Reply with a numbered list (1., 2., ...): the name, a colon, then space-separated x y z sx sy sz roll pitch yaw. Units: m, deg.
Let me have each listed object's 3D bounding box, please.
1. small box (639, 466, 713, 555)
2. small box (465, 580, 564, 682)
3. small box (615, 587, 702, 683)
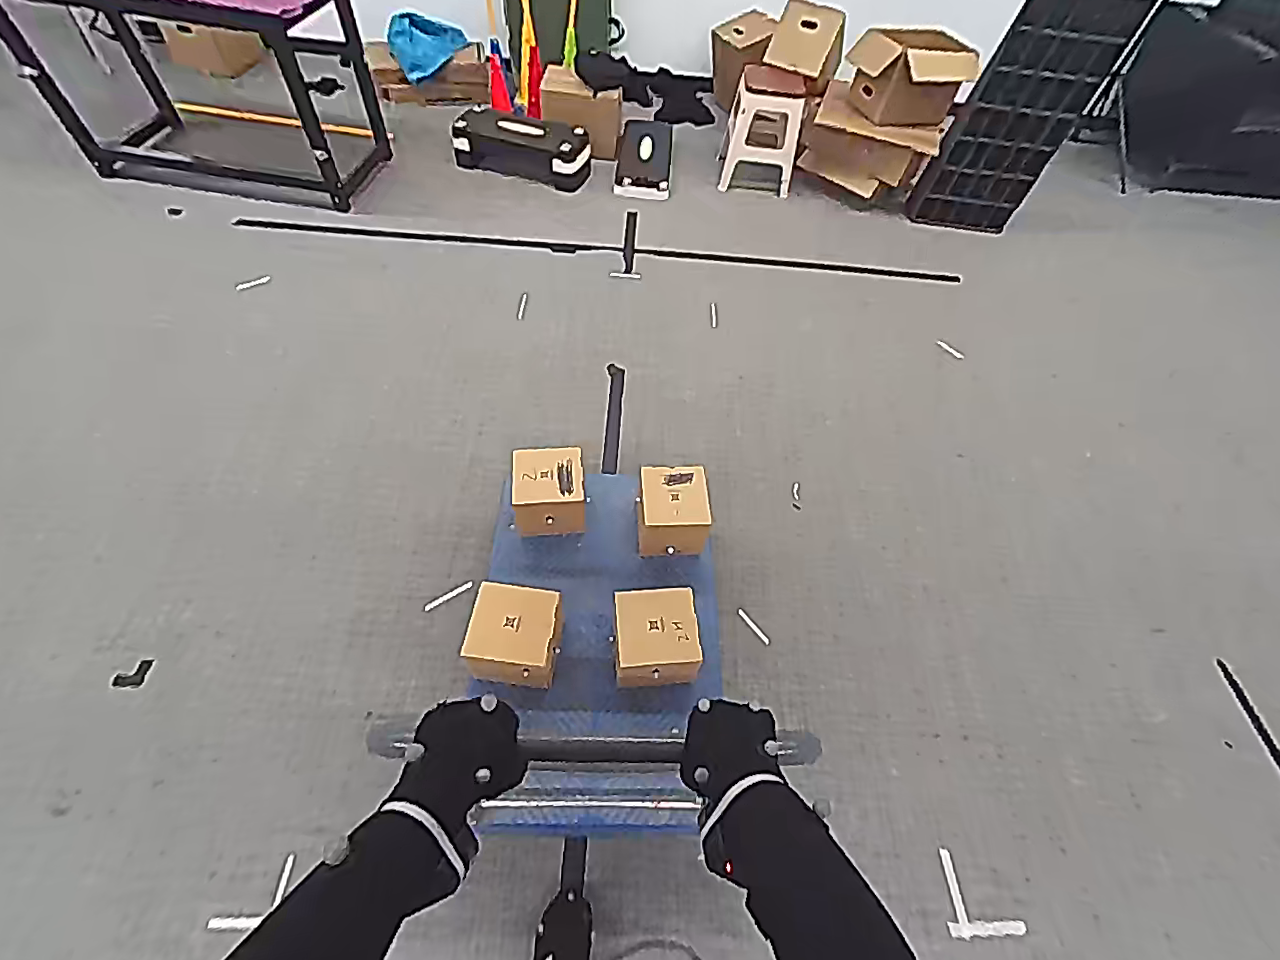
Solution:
1. small box: 0.086 0.082 1.422 0.168 0.176 0.179 0 57 -5
2. small box: -0.272 0.342 1.211 0.179 0.176 0.168 9 55 -1
3. small box: 0.034 0.355 1.229 0.179 0.176 0.168 -2 56 -6
